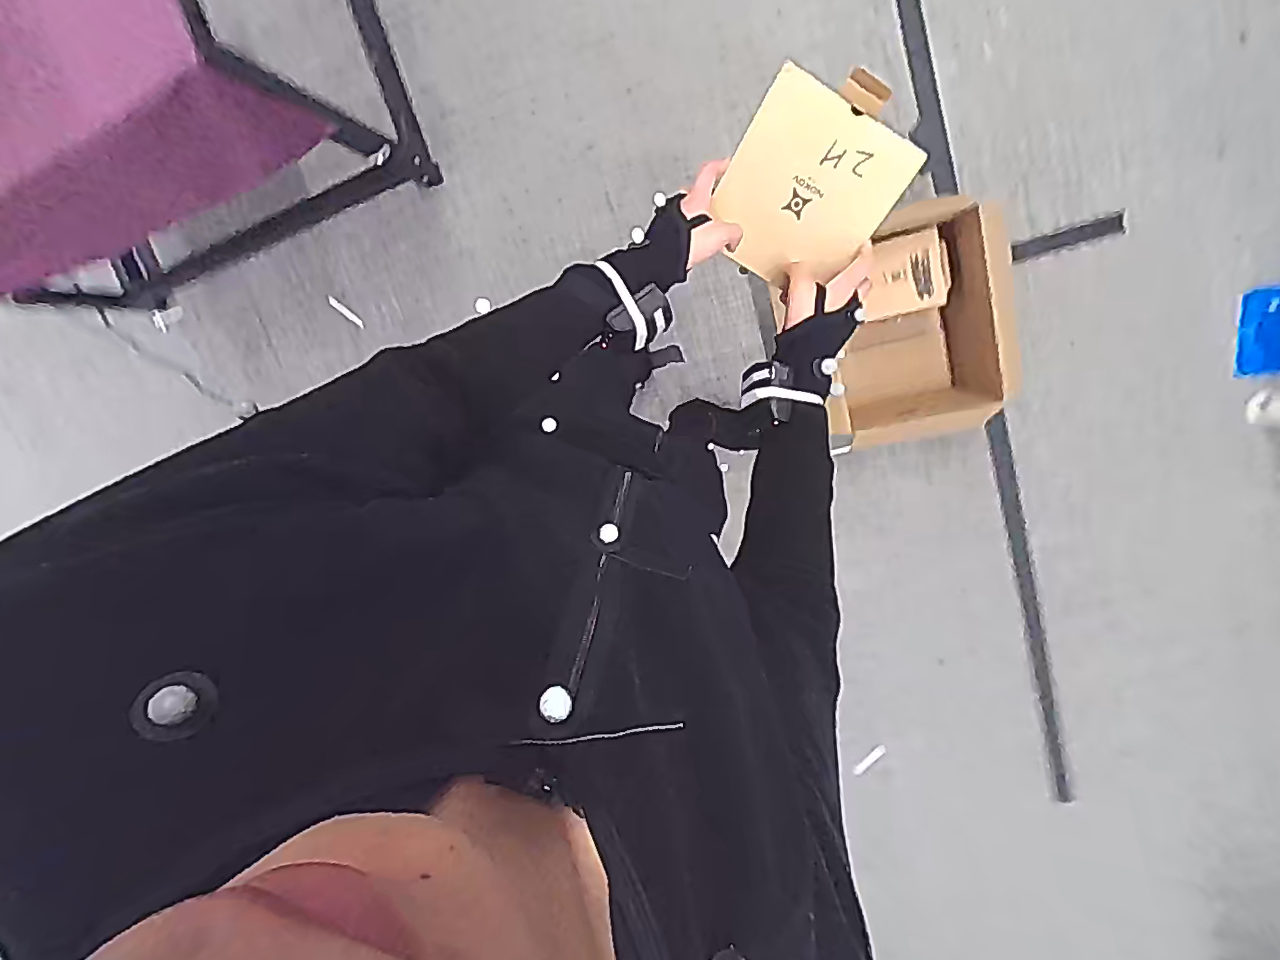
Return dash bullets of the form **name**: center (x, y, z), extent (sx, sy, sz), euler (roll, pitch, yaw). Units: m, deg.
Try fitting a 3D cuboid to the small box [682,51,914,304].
- **small box**: center (0.168, -0.333, 0.618), extent (0.168, 0.176, 0.179), euler (29, 119, -6)
